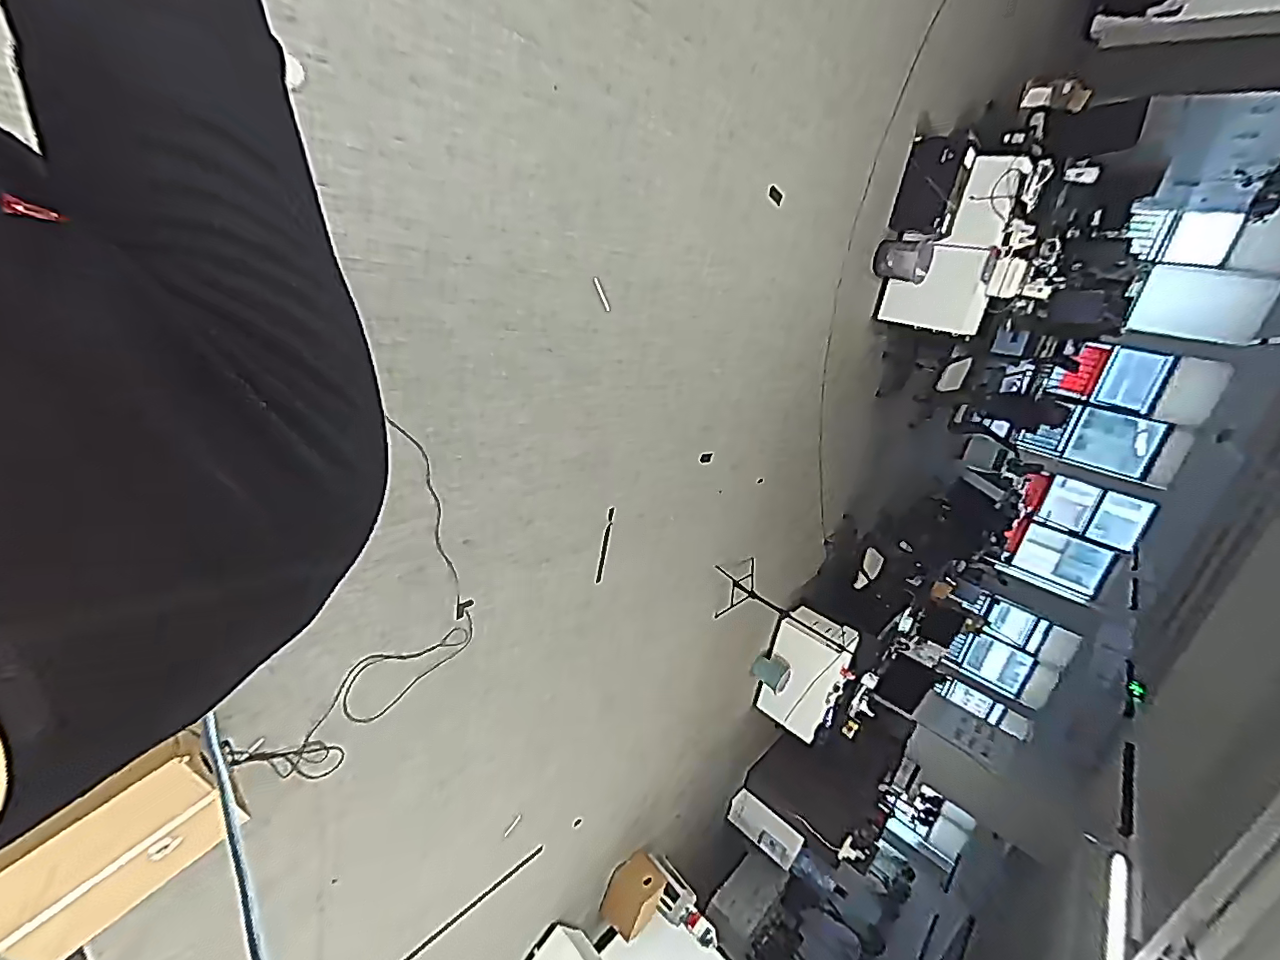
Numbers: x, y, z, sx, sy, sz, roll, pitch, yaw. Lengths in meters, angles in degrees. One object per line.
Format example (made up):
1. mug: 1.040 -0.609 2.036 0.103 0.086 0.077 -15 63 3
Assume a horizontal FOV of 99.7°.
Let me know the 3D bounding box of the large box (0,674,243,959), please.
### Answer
1. large box: -1.246 0.746 1.240 0.408 0.320 0.320 -36 136 -34
